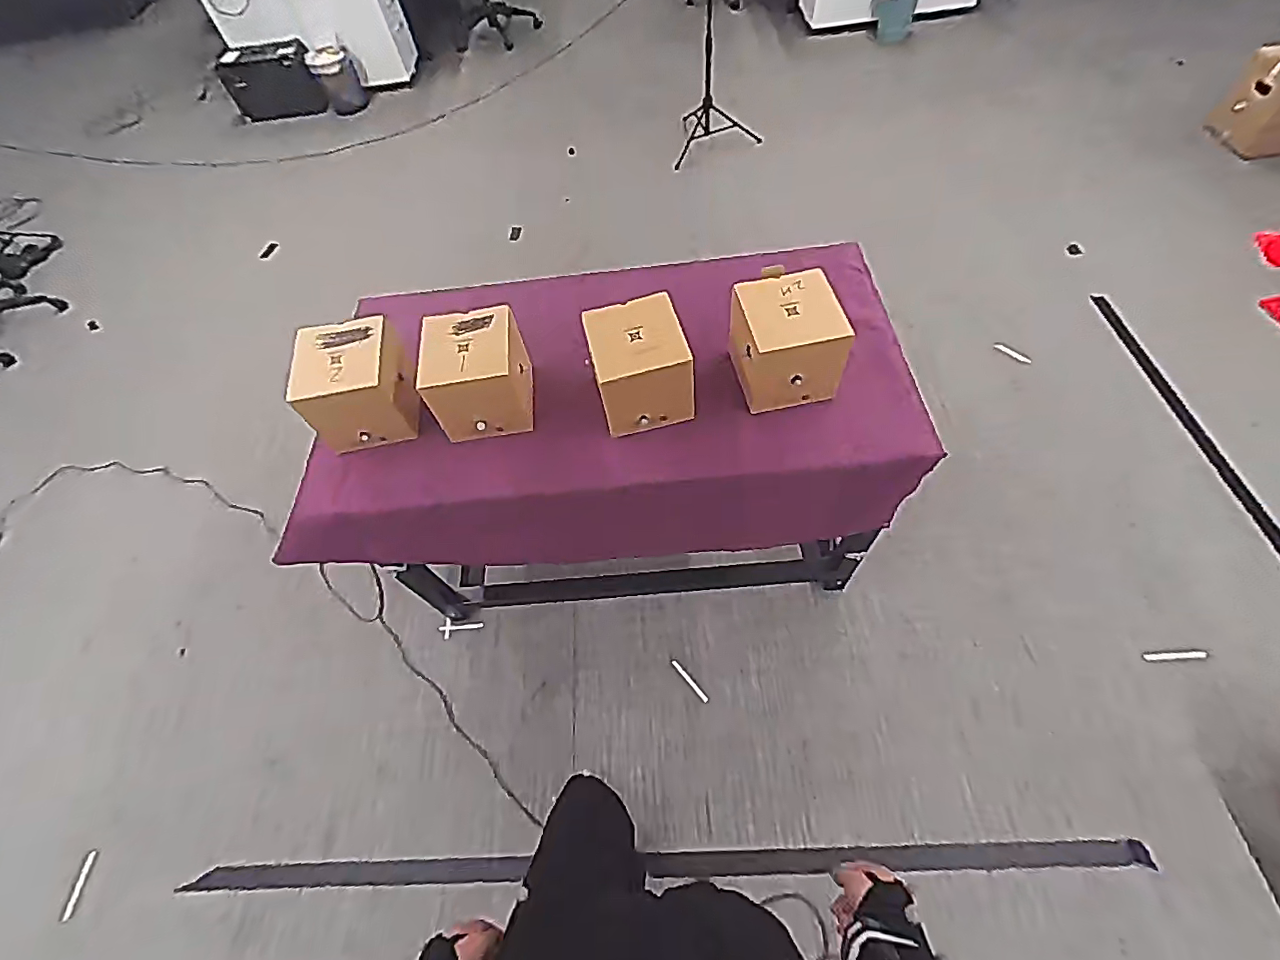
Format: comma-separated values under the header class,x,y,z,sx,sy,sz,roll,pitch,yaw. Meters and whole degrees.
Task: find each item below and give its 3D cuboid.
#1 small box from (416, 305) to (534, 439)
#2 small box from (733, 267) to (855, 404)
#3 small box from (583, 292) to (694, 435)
class,x,y,z,sx,sy,sz,roll,pitch,yaw
small box,-0.305,-0.203,1.035,0.168,0.176,0.179,-9,59,1
small box,0.273,-0.258,1.003,0.168,0.176,0.179,-11,58,0
small box,0.000,-0.214,1.009,0.168,0.176,0.179,-15,58,-2
